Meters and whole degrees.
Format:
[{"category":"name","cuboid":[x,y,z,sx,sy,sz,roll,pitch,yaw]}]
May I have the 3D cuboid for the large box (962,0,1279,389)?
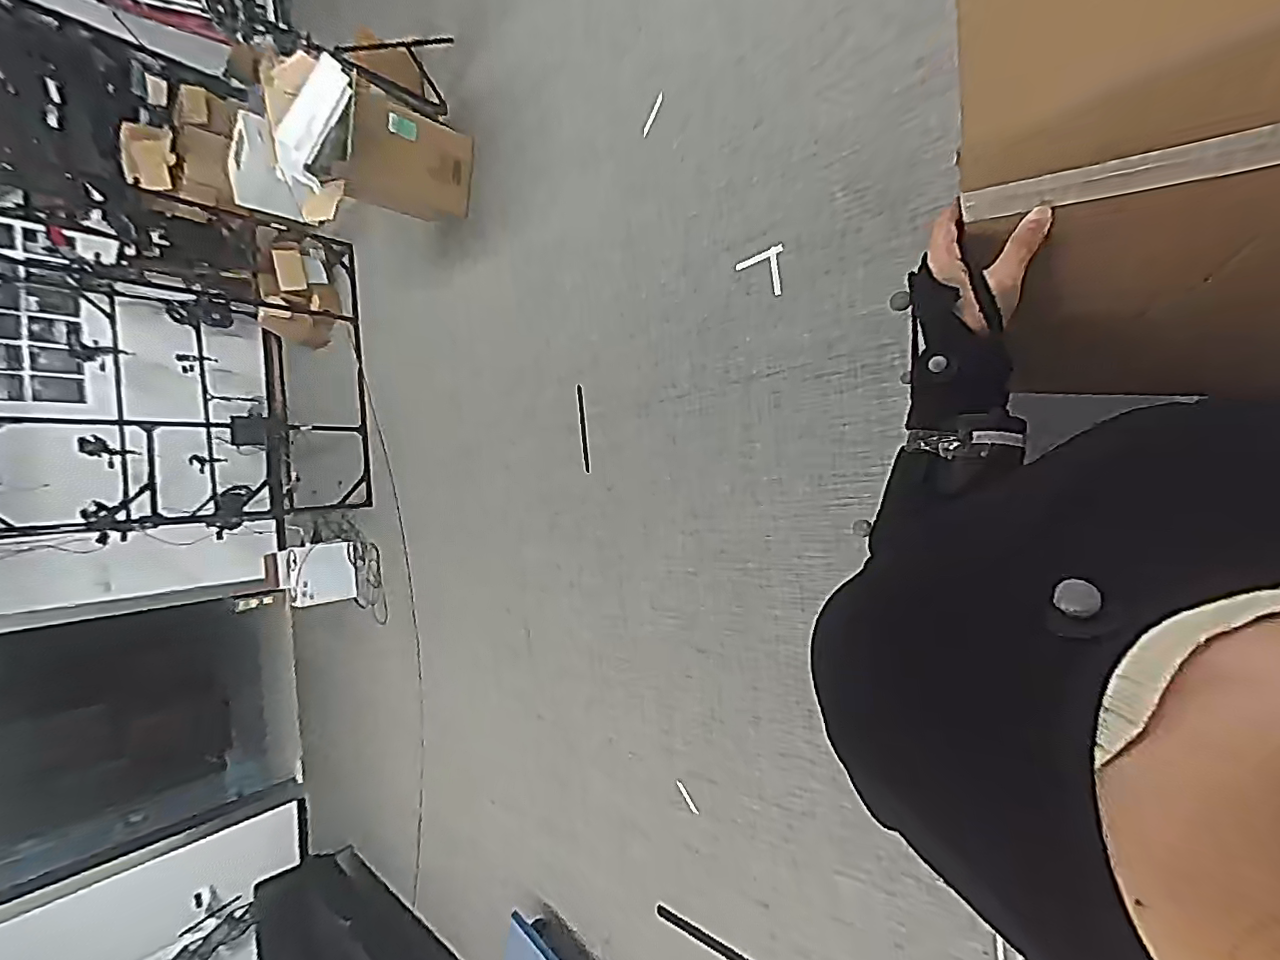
[{"category":"large box","cuboid":[0.482,-0.269,0.345,0.408,0.320,0.320,9,133,45]}]
